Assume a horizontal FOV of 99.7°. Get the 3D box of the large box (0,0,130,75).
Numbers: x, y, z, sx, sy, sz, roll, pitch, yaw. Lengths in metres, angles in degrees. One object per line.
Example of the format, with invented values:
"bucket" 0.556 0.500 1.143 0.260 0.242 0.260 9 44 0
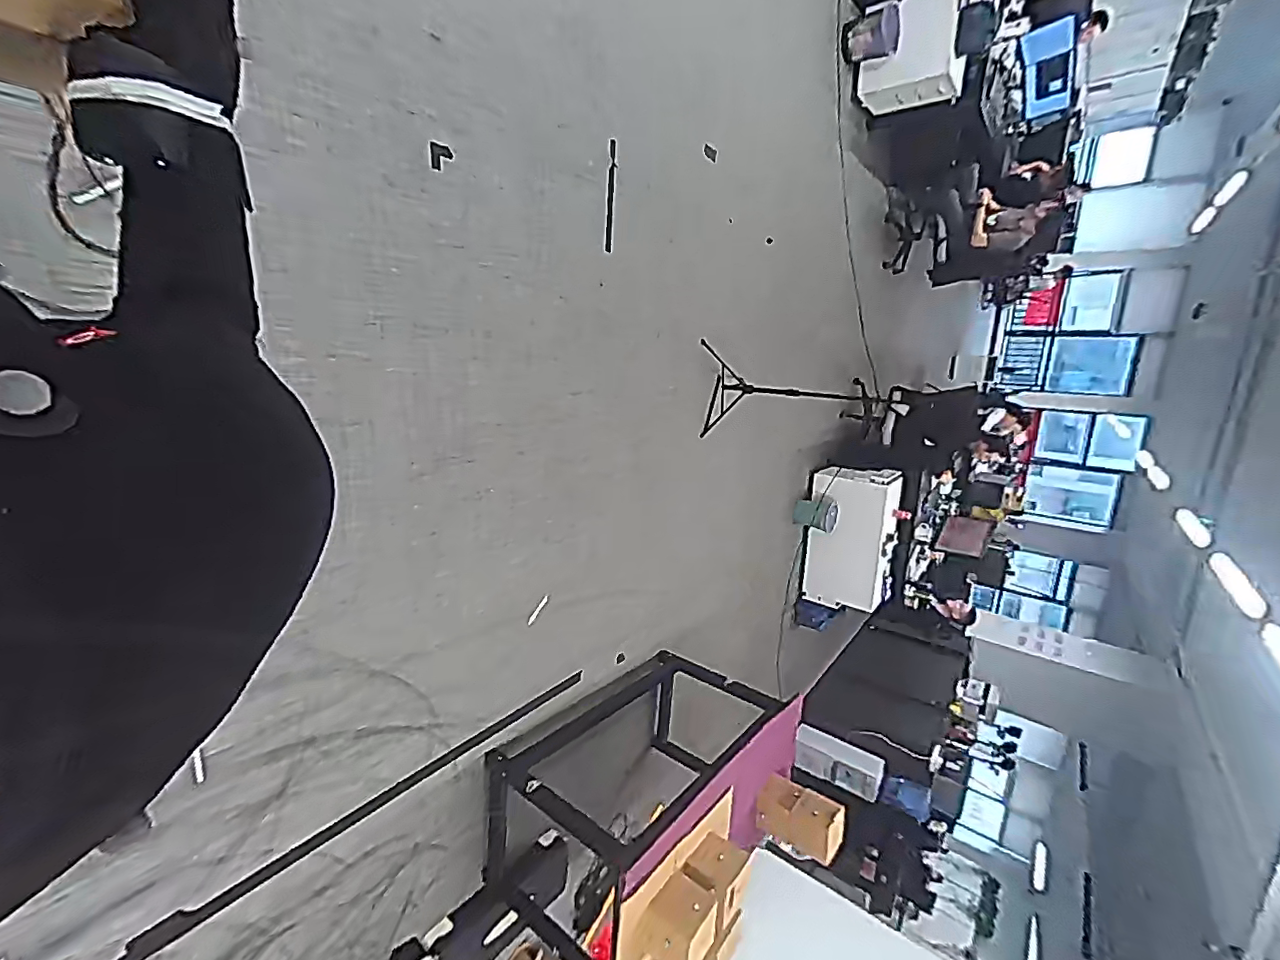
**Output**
"large box" -0.549 -0.447 0.237 0.408 0.320 0.320 -13 121 -53
